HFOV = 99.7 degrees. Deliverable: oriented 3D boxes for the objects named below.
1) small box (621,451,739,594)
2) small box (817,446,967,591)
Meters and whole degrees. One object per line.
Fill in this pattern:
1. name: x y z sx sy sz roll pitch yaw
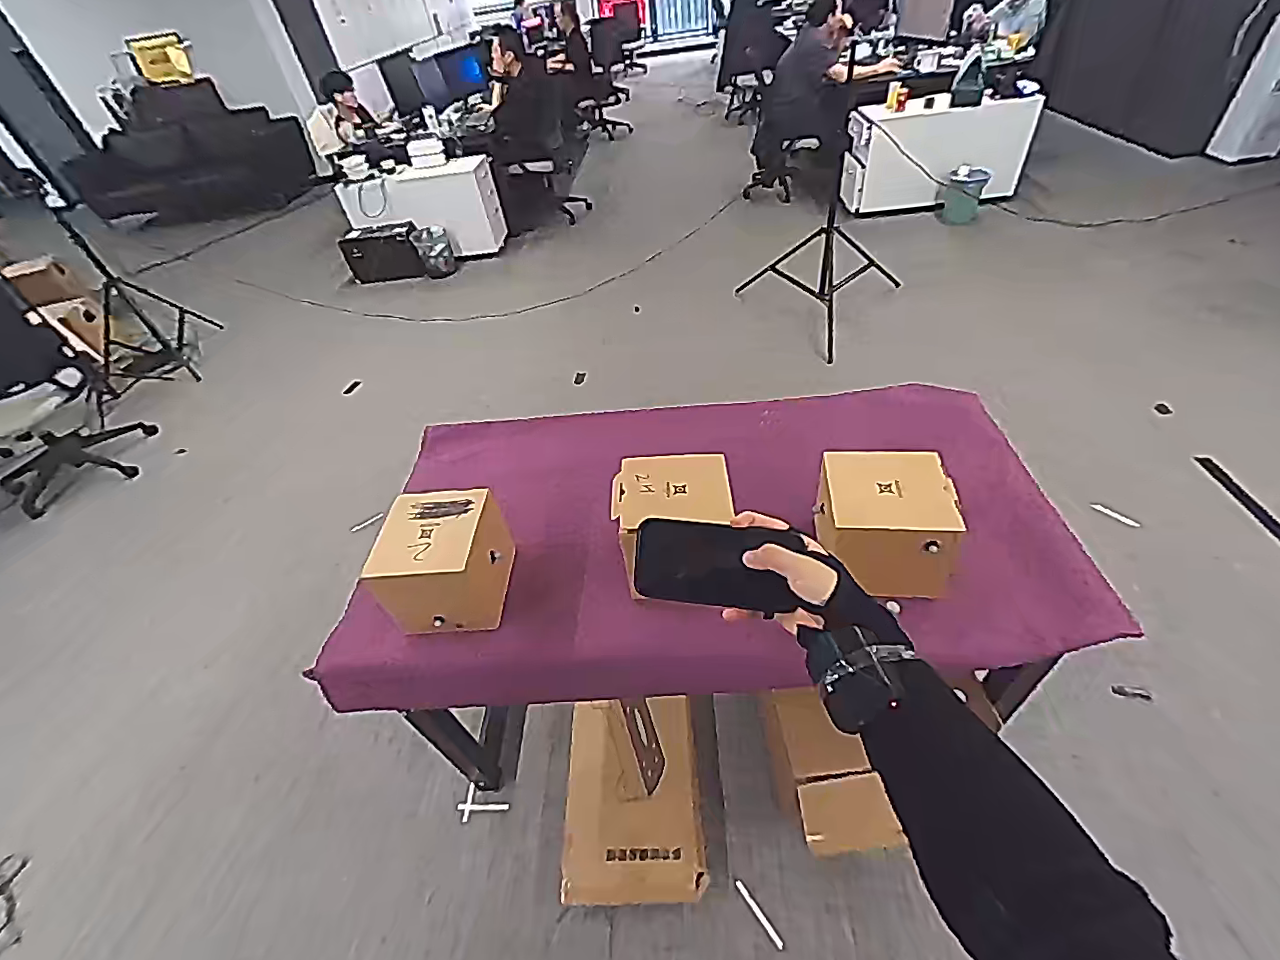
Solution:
1. small box: 0.067 0.073 0.904 0.179 0.176 0.168 -5 42 5
2. small box: 0.382 0.063 0.861 0.179 0.176 0.168 0 45 10
